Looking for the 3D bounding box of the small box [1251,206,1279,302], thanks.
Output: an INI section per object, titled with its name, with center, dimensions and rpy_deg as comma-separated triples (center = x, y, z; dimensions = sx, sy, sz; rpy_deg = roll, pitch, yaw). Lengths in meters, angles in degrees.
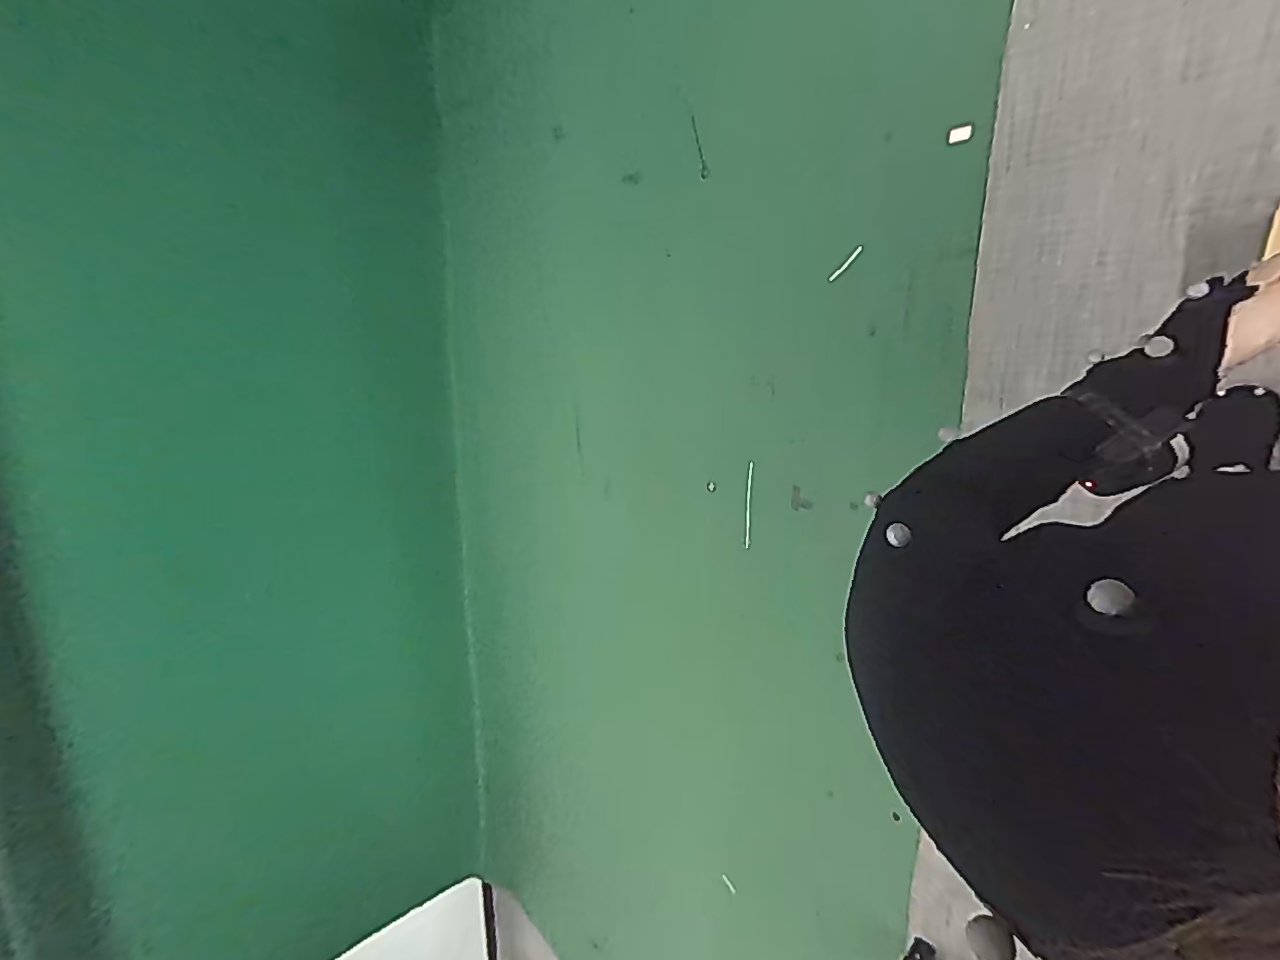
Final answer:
[small box]
center = 1.130, -0.379, 0.865
dimensions = 0.168, 0.176, 0.179
rpy_deg = 18, 112, 46
